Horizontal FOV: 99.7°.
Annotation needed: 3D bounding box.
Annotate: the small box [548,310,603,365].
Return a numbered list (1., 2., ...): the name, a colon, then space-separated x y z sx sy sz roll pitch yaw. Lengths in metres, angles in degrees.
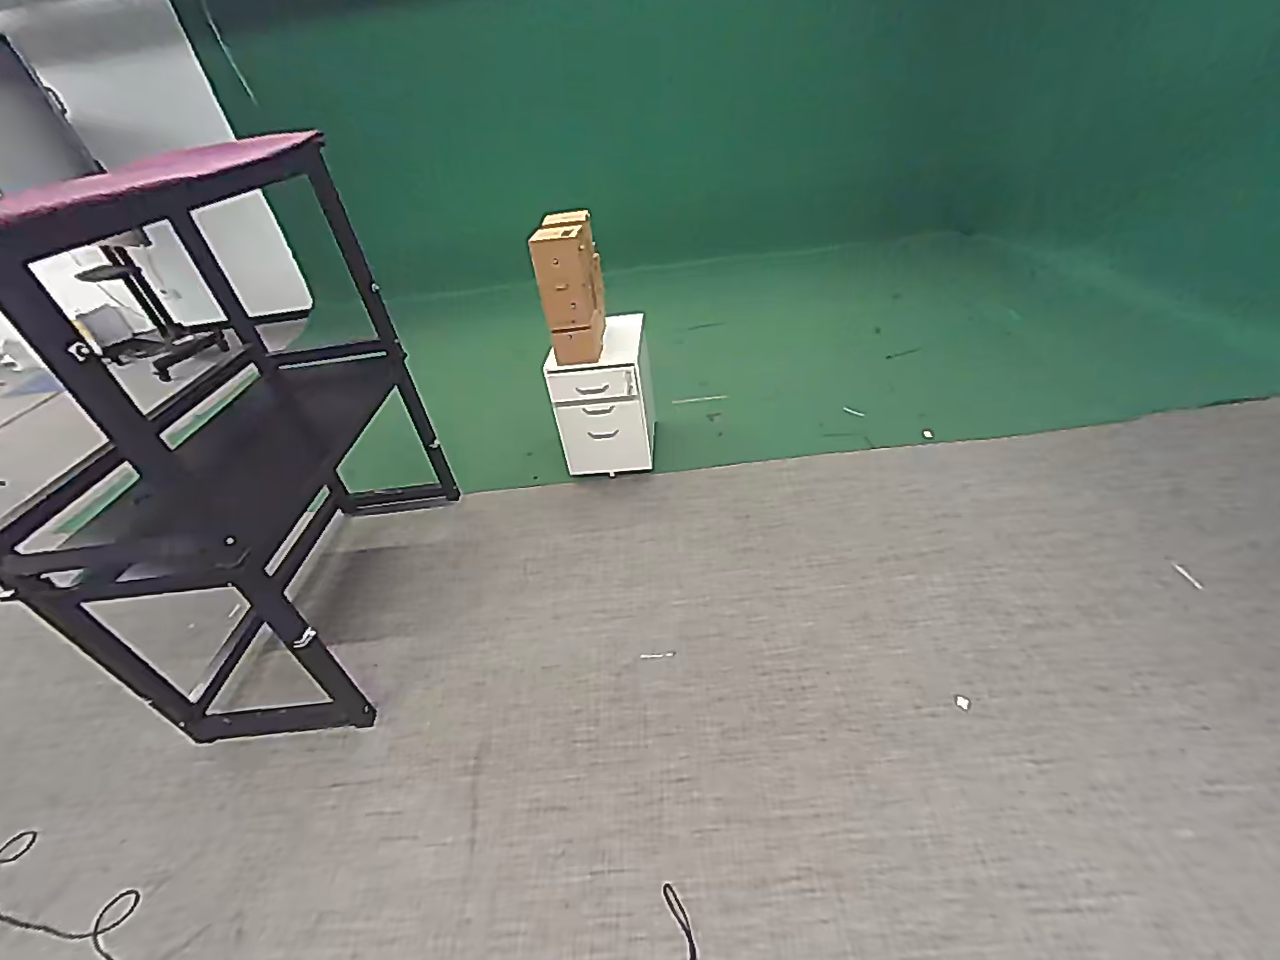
1. small box: -0.260 -0.584 2.225 0.179 0.176 0.168 -2 37 8

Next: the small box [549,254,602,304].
1. small box: -0.271 -0.854 2.313 0.179 0.176 0.168 -1 38 9

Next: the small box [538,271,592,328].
1. small box: -0.287 -0.701 2.115 0.168 0.176 0.179 -3 36 6
